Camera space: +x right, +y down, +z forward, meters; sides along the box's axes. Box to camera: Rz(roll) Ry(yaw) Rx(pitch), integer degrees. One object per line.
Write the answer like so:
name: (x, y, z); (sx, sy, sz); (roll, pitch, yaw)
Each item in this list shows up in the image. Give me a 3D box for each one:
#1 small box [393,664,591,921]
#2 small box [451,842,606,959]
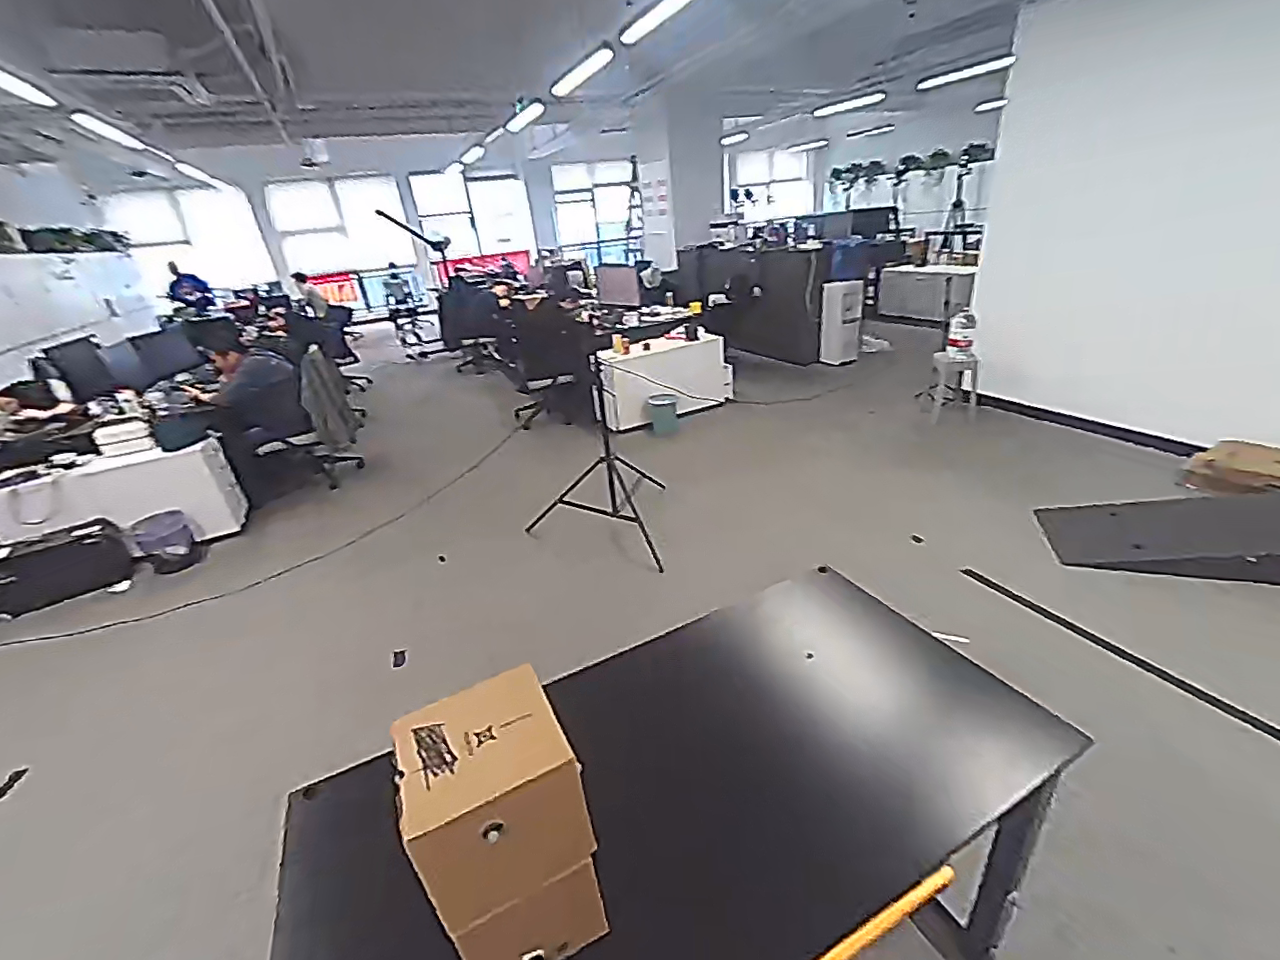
small box: (-0.175, 0.364, 0.645); (0.179, 0.176, 0.168); (-18, 28, -22)
small box: (-0.159, 0.511, 0.718); (0.168, 0.176, 0.179); (-18, 29, -21)
